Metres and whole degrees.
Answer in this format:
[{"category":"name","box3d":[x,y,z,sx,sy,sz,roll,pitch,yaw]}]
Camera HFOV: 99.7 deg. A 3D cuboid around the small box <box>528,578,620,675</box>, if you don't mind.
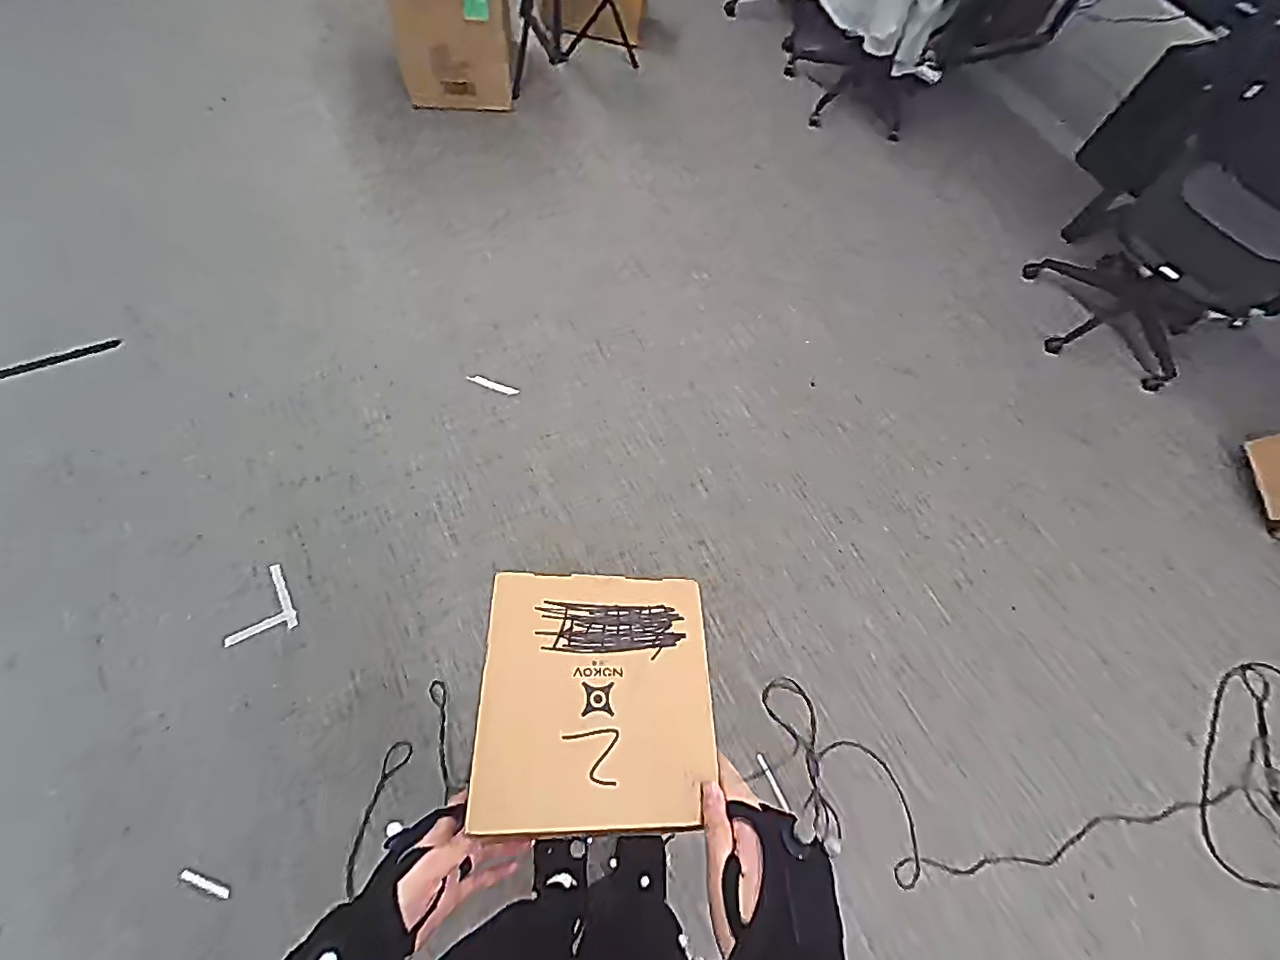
[{"category":"small box","box3d":[-0.159,0.359,1.308,0.179,0.176,0.168,-16,68,-14]}]
